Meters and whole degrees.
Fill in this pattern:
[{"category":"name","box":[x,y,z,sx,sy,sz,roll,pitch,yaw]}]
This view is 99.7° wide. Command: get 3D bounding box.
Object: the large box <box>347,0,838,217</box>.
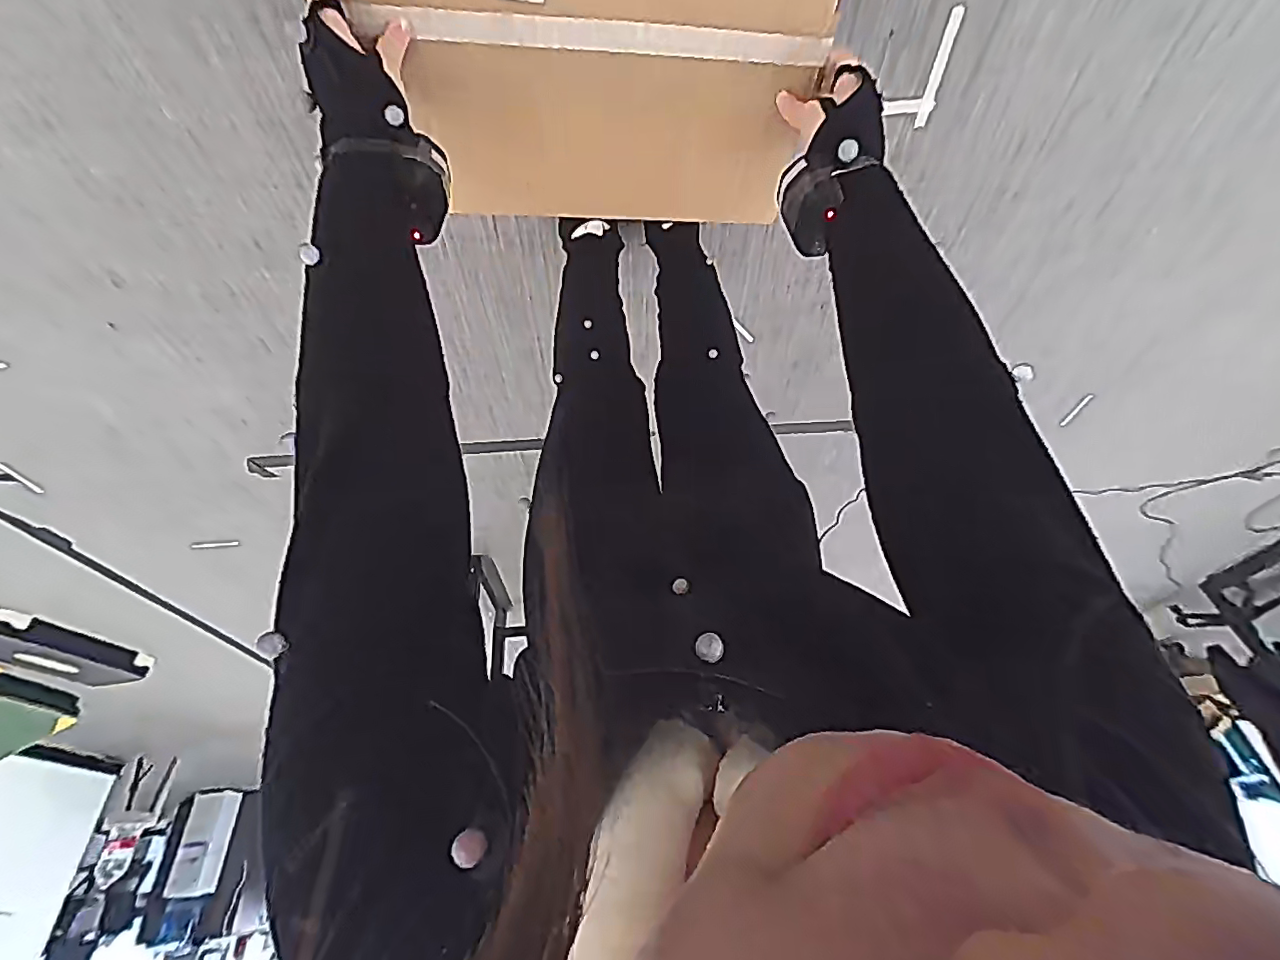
[{"category":"large box","box":[-0.044,-0.494,0.539,0.408,0.320,0.320,-1,141,-6]}]
